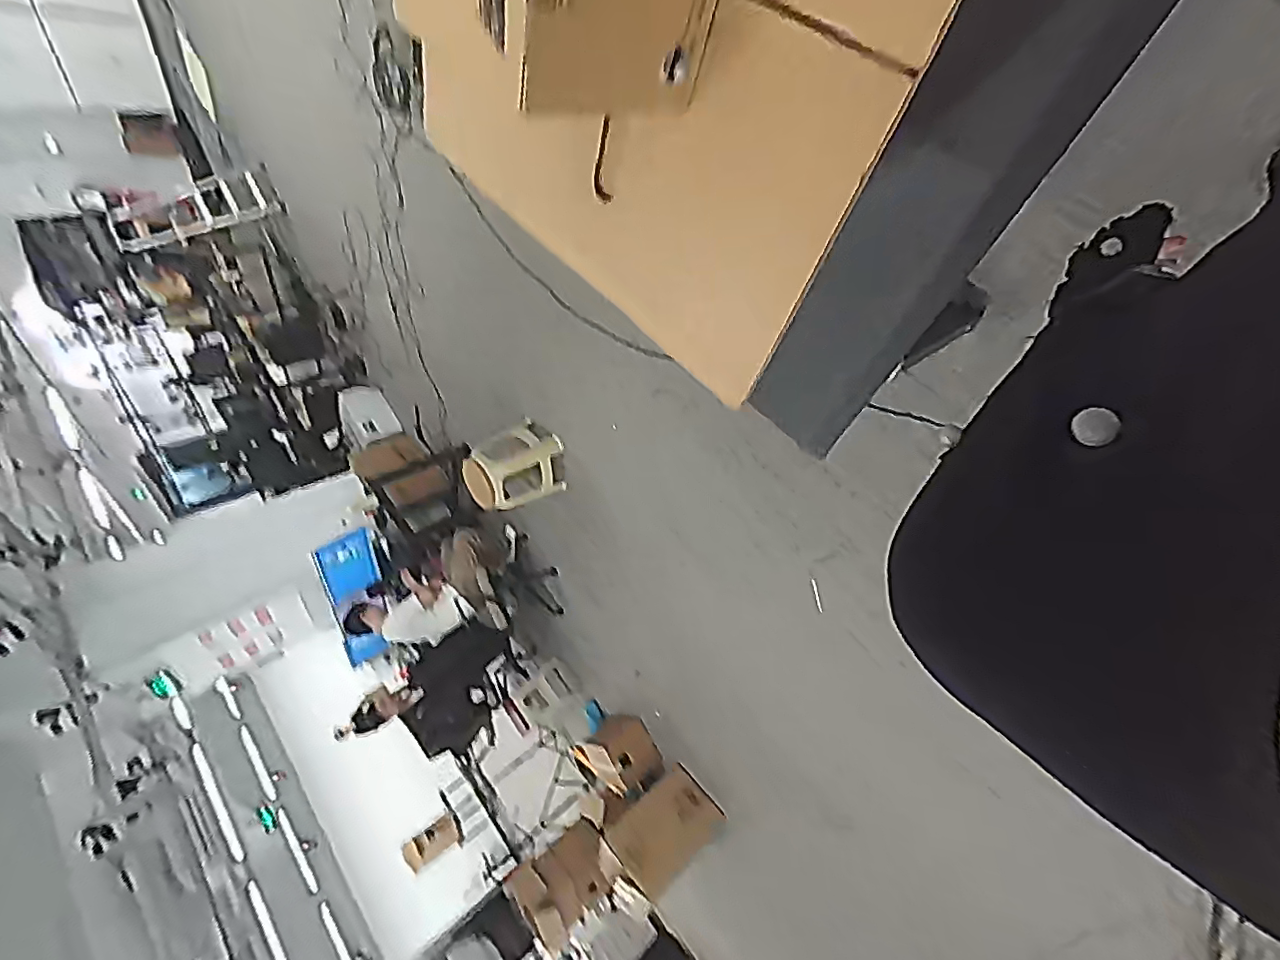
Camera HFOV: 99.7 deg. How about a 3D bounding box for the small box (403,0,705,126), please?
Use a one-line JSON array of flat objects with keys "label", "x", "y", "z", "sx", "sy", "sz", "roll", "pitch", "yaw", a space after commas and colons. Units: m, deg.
[{"label": "small box", "x": -0.056, "y": -0.385, "z": 0.387, "sx": 0.179, "sy": 0.176, "sz": 0.168, "roll": 46, "pitch": 144, "yaw": 22}]
